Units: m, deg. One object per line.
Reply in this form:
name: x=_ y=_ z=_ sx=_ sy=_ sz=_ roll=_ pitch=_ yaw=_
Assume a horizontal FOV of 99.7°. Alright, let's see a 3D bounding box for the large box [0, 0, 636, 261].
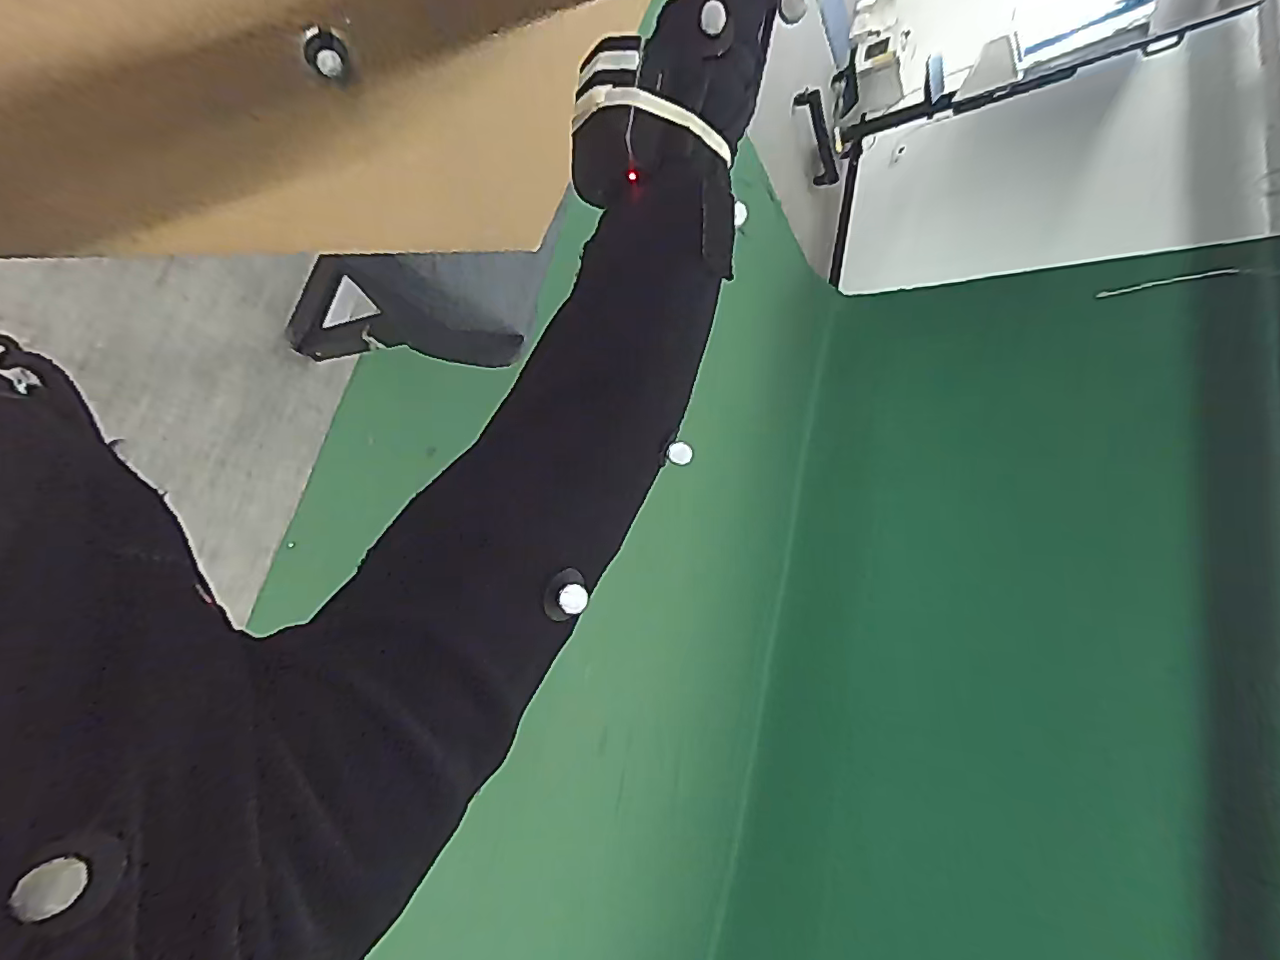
large box: x=-0.245 y=-0.365 z=0.314 sx=0.408 sy=0.320 sz=0.320 roll=-24 pitch=77 yaw=-40
